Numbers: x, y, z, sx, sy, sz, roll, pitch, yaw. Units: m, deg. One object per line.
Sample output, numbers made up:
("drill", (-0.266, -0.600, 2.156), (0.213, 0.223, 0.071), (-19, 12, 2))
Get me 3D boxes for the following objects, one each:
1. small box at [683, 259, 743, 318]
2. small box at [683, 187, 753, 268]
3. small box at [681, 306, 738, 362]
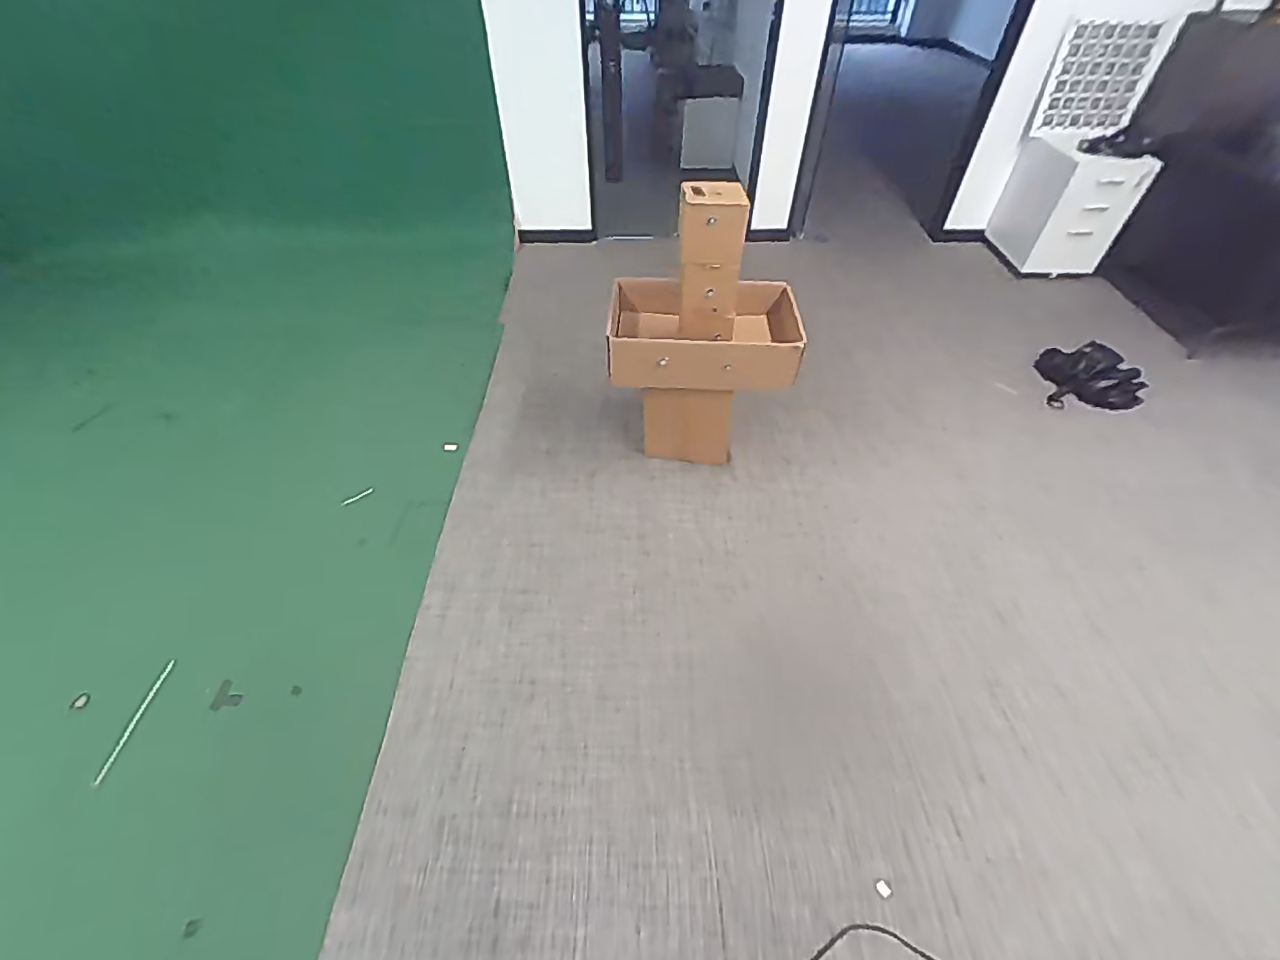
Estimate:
("small box", (0.225, -0.625, 1.701), (0.168, 0.176, 0.179), (1, 48, -1))
("small box", (0.220, -0.735, 1.578), (0.179, 0.176, 0.168), (0, 47, -2))
("small box", (0.229, -0.510, 1.818), (0.168, 0.176, 0.179), (1, 45, -1))
